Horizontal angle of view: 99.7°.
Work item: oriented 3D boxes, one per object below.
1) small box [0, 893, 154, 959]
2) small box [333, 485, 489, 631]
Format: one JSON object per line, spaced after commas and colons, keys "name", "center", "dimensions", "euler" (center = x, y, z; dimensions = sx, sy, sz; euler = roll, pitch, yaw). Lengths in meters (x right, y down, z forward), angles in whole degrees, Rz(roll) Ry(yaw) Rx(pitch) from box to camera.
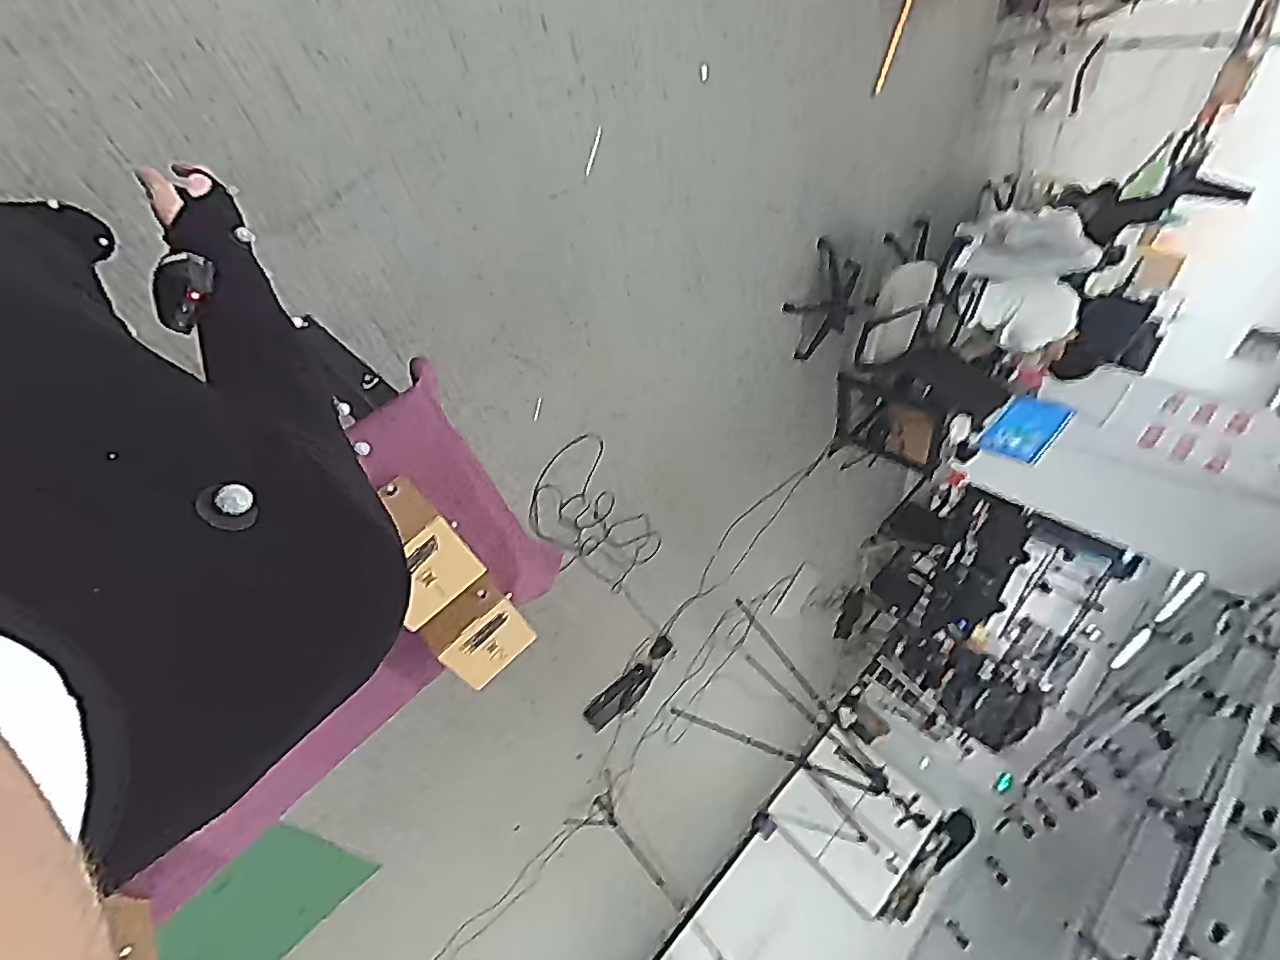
{"name": "small box", "center": [-0.939, 0.822, 0.881], "dimensions": [0.168, 0.176, 0.179], "euler": [-41, 138, -23]}
{"name": "small box", "center": [-0.414, 0.132, 0.979], "dimensions": [0.168, 0.176, 0.179], "euler": [-41, 141, -19]}
